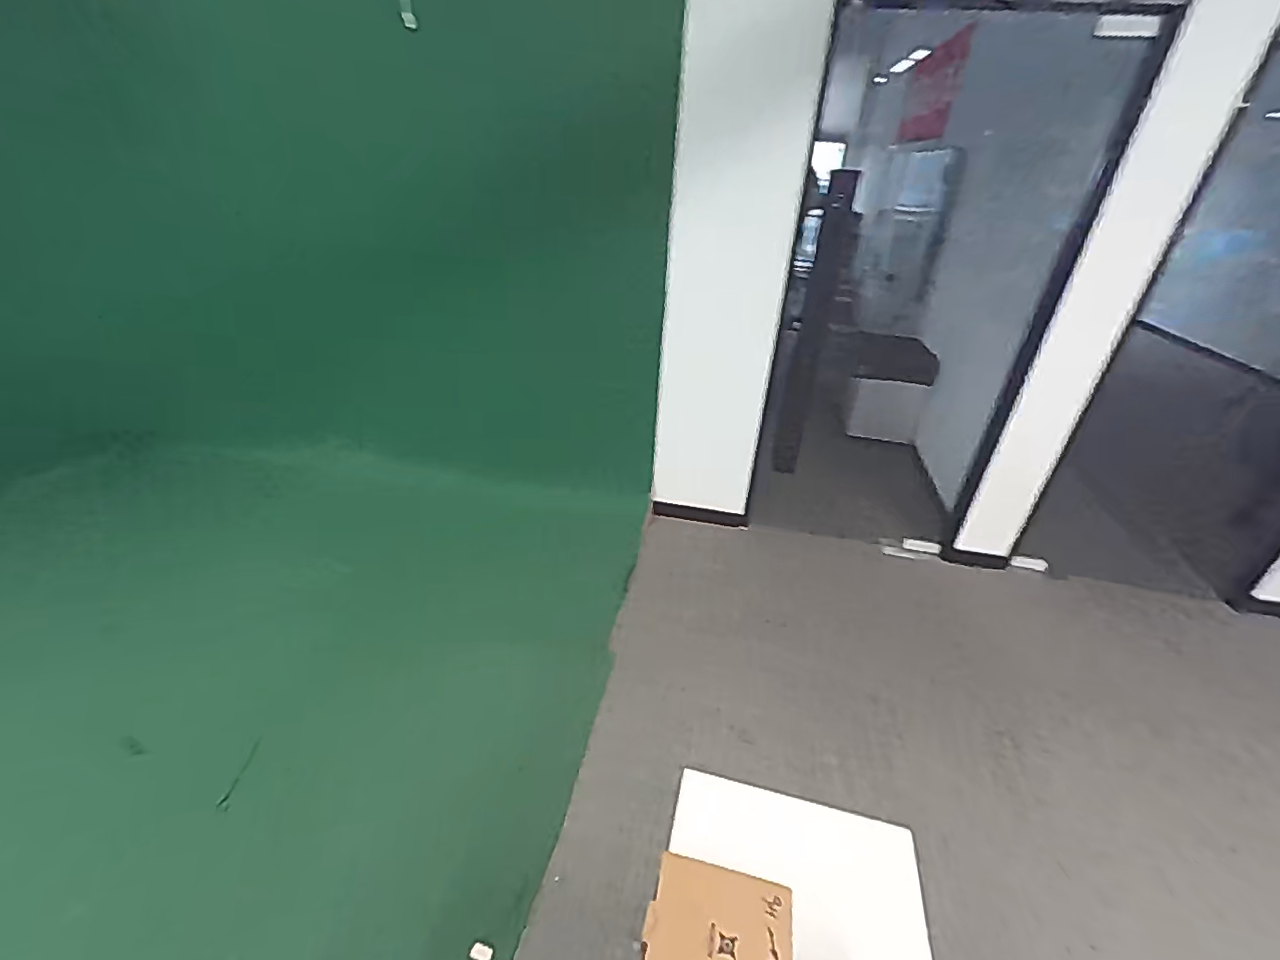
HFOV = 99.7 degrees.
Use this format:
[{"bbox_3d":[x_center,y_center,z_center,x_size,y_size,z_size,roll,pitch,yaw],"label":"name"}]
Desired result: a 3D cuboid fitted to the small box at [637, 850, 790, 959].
[{"bbox_3d":[0.087,0.624,0.691,0.179,0.176,0.168,11,31,10],"label":"small box"}]
